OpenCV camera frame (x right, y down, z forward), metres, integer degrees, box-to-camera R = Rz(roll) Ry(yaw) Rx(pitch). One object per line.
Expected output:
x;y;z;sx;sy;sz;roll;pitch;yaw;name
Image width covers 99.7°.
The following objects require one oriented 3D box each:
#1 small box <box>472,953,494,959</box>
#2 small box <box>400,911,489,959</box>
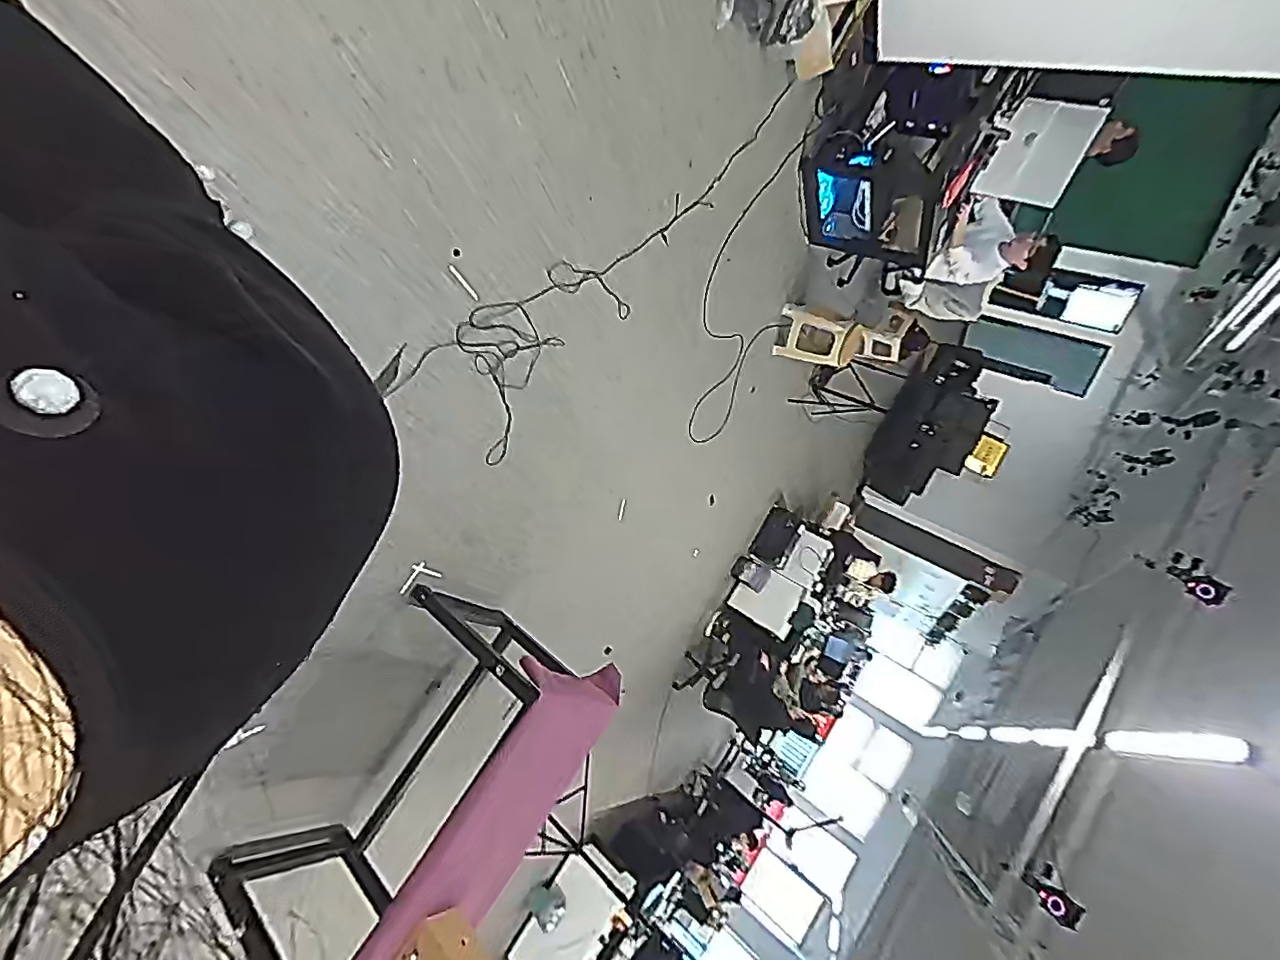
-0.493;1.565;1.604;0.168;0.176;0.179;-54;150;-14;small box
-0.616;1.499;1.690;0.168;0.176;0.179;-55;149;-12;small box
